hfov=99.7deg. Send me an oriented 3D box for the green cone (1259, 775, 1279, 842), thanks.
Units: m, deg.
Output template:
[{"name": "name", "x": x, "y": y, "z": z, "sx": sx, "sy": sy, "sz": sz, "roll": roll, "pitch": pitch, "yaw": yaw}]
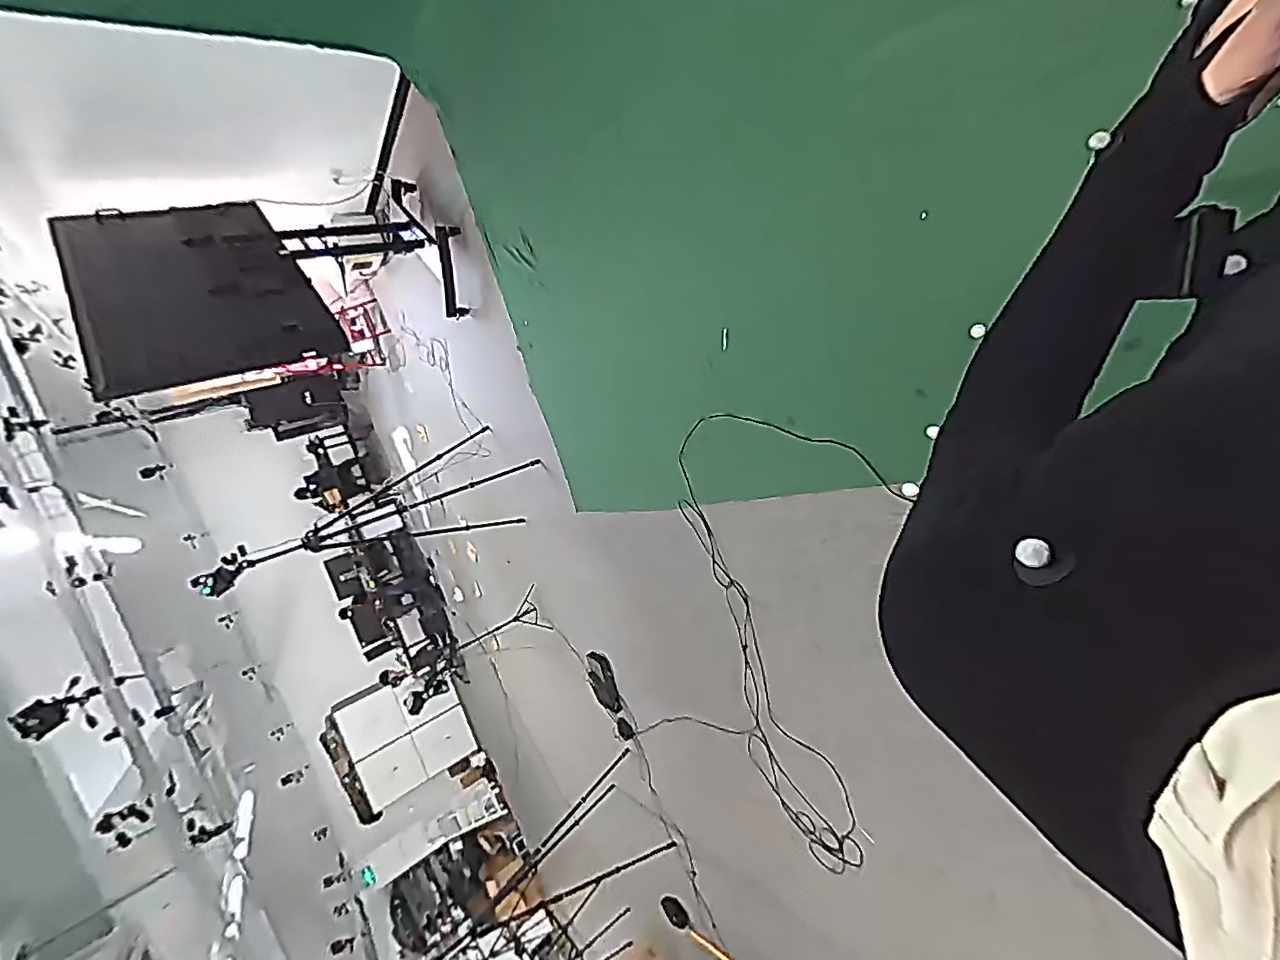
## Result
[{"name": "green cone", "x": 1.475, "y": 0.861, "z": 1.168, "sx": 0.202, "sy": 0.368, "sz": 0.200, "roll": -7, "pitch": 103, "yaw": 56}]
